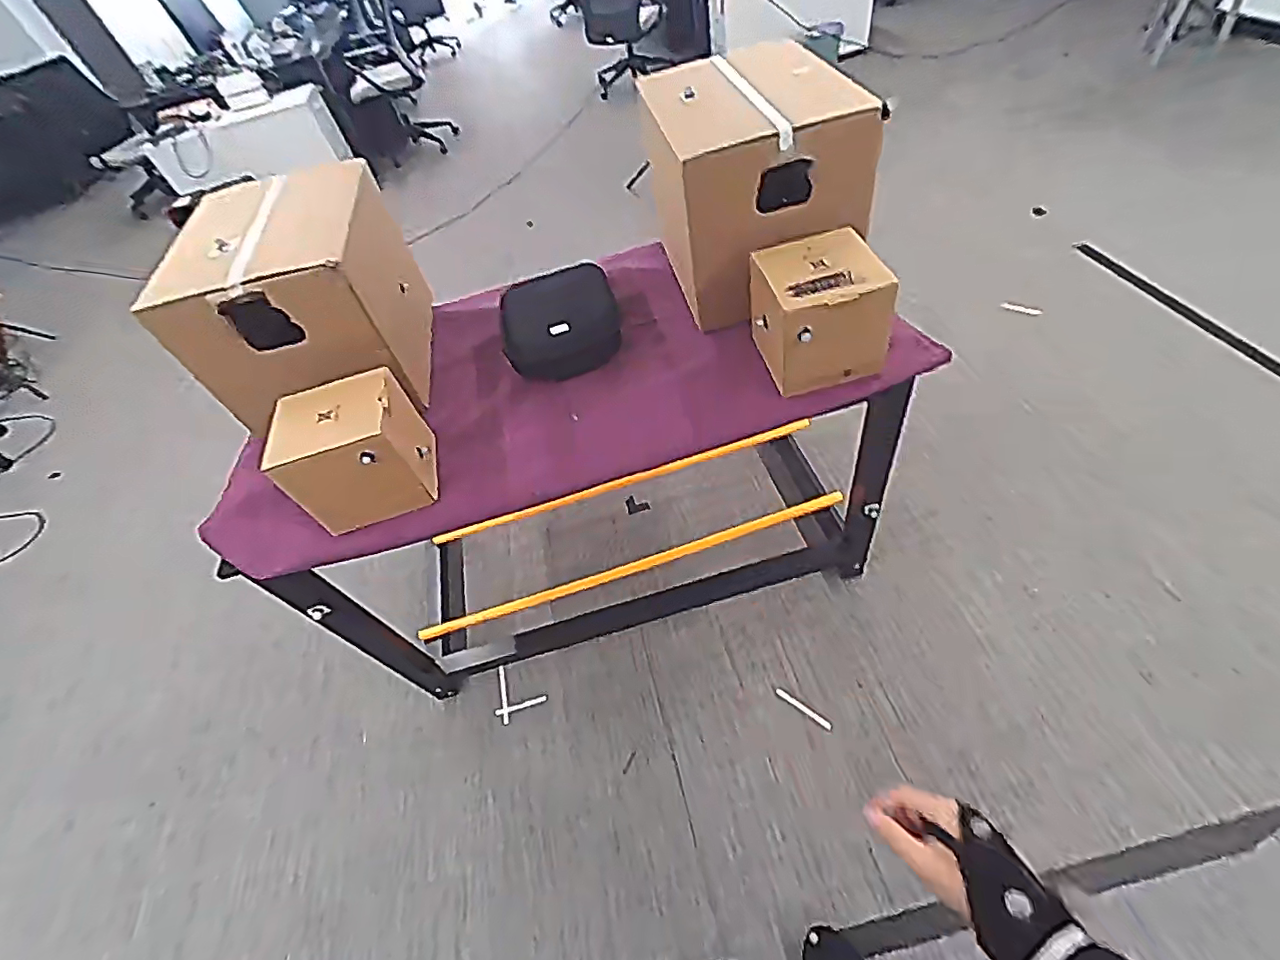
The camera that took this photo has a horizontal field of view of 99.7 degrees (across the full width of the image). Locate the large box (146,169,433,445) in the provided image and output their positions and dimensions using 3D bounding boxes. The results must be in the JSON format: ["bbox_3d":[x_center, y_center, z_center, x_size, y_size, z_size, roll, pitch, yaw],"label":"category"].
[{"bbox_3d":[-0.610,-0.324,1.036,0.320,0.320,0.408,-16,53,-2],"label":"large box"}]

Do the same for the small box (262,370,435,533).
[{"bbox_3d":[-0.450,-0.040,0.865,0.179,0.176,0.168,-19,49,-4],"label":"small box"}]
